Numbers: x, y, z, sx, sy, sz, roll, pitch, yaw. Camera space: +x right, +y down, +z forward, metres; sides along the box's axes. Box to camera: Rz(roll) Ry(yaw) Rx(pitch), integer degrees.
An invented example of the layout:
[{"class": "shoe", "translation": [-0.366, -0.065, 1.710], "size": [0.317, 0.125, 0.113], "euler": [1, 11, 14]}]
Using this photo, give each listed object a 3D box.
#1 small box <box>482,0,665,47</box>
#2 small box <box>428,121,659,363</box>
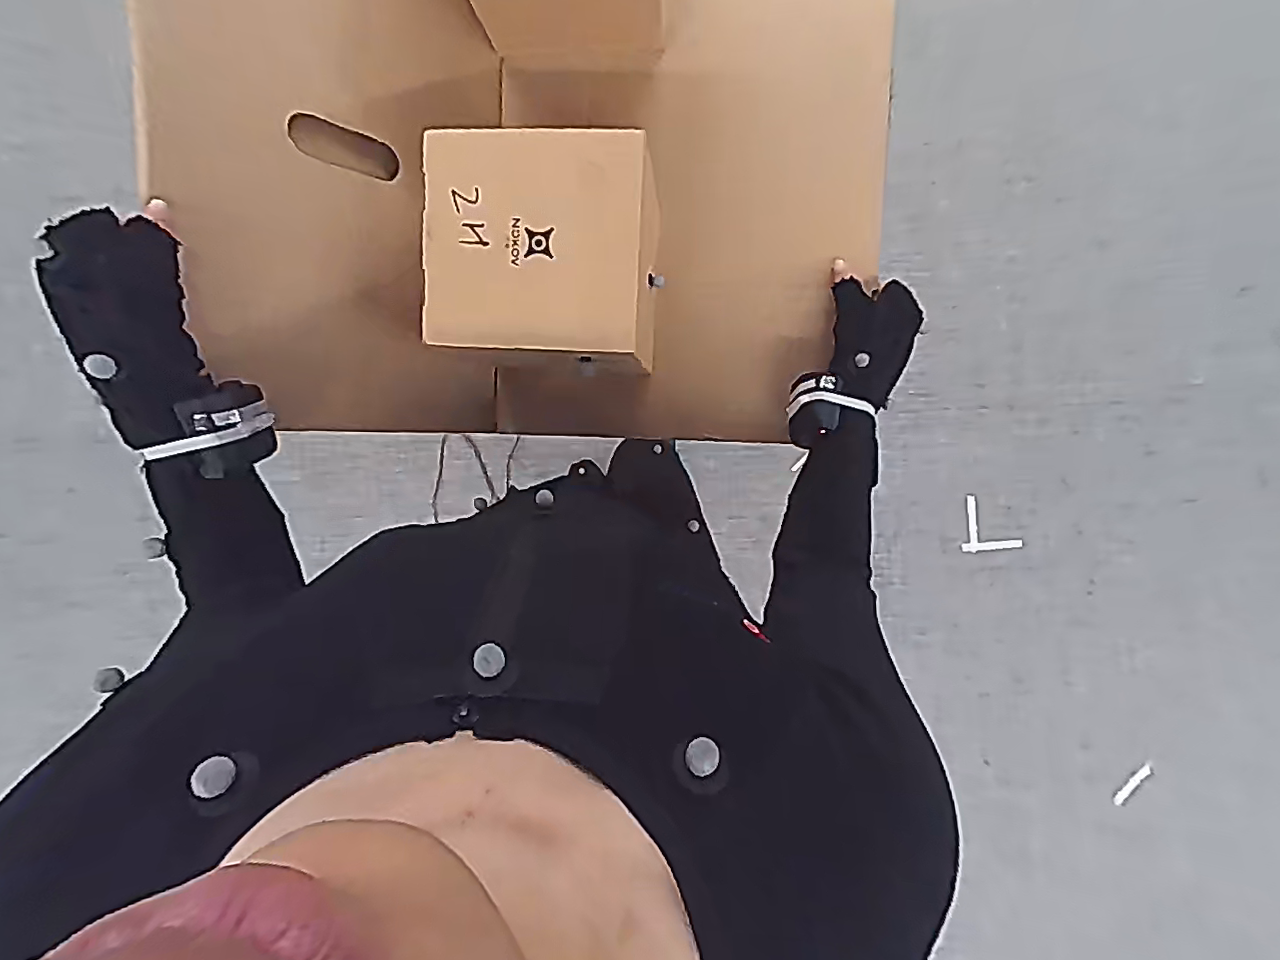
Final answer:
[{"class": "small box", "translation": [-0.068, -0.523, 0.475], "size": [0.179, 0.176, 0.168], "euler": [1, 96, 5]}, {"class": "small box", "translation": [-0.076, -0.204, 0.508], "size": [0.179, 0.176, 0.168], "euler": [4, 96, 6]}]
